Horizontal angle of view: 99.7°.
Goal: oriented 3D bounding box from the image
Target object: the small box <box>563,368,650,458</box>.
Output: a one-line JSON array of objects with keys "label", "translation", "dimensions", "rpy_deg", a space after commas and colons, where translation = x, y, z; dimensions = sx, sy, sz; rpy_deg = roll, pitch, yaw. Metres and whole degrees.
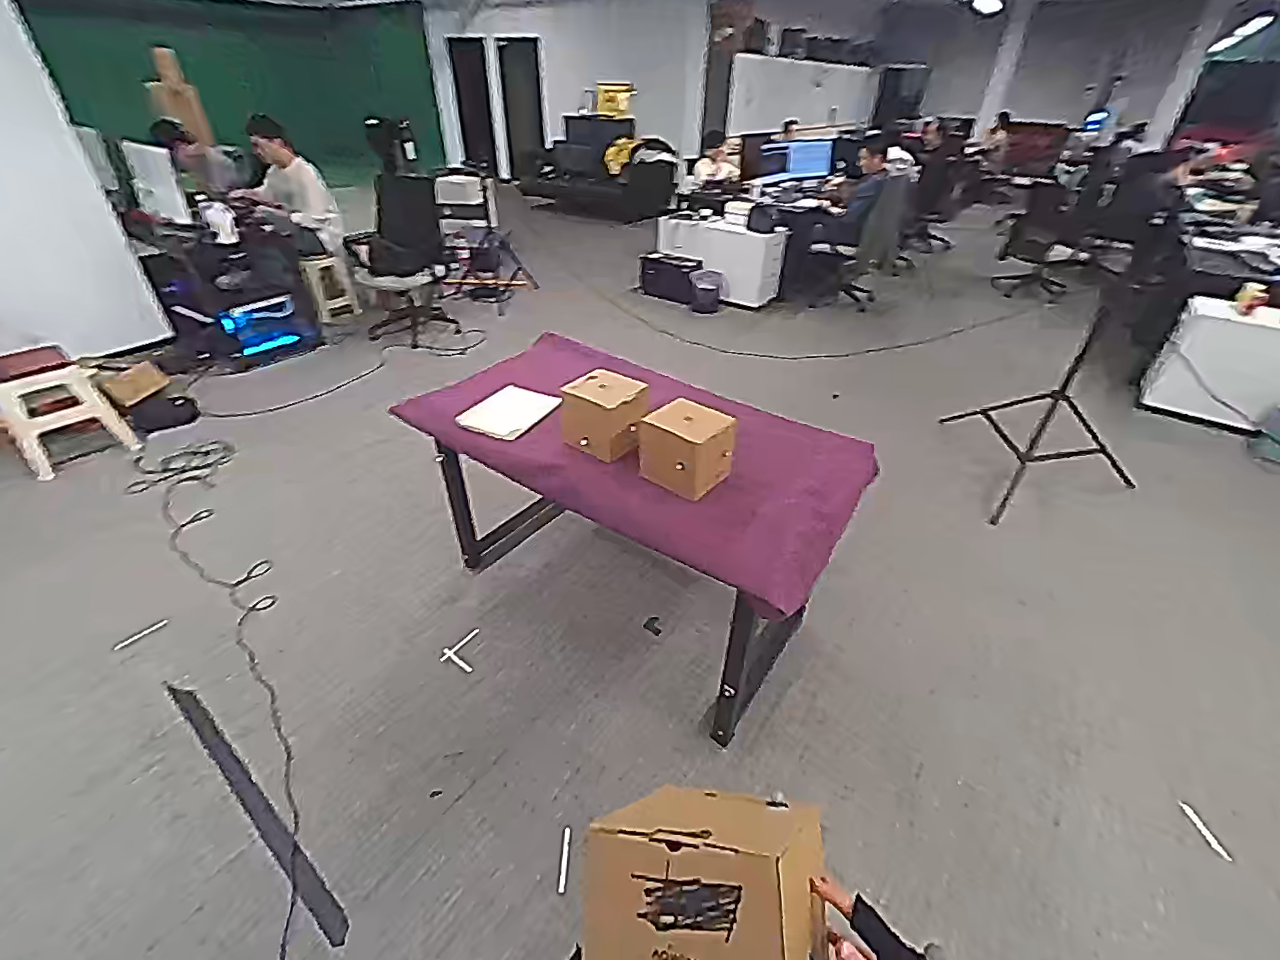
[{"label": "small box", "translation": [-0.089, -0.180, 1.478], "dimensions": [0.179, 0.176, 0.168], "rpy_deg": [25, 42, 28]}]

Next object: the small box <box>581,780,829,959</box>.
[{"label": "small box", "translation": [0.062, 0.373, 0.463], "dimensions": [0.168, 0.176, 0.179], "rpy_deg": [-9, 71, 25]}]

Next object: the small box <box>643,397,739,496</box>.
[{"label": "small box", "translation": [0.123, -0.081, 1.351], "dimensions": [0.179, 0.176, 0.168], "rpy_deg": [25, 41, 32]}]
